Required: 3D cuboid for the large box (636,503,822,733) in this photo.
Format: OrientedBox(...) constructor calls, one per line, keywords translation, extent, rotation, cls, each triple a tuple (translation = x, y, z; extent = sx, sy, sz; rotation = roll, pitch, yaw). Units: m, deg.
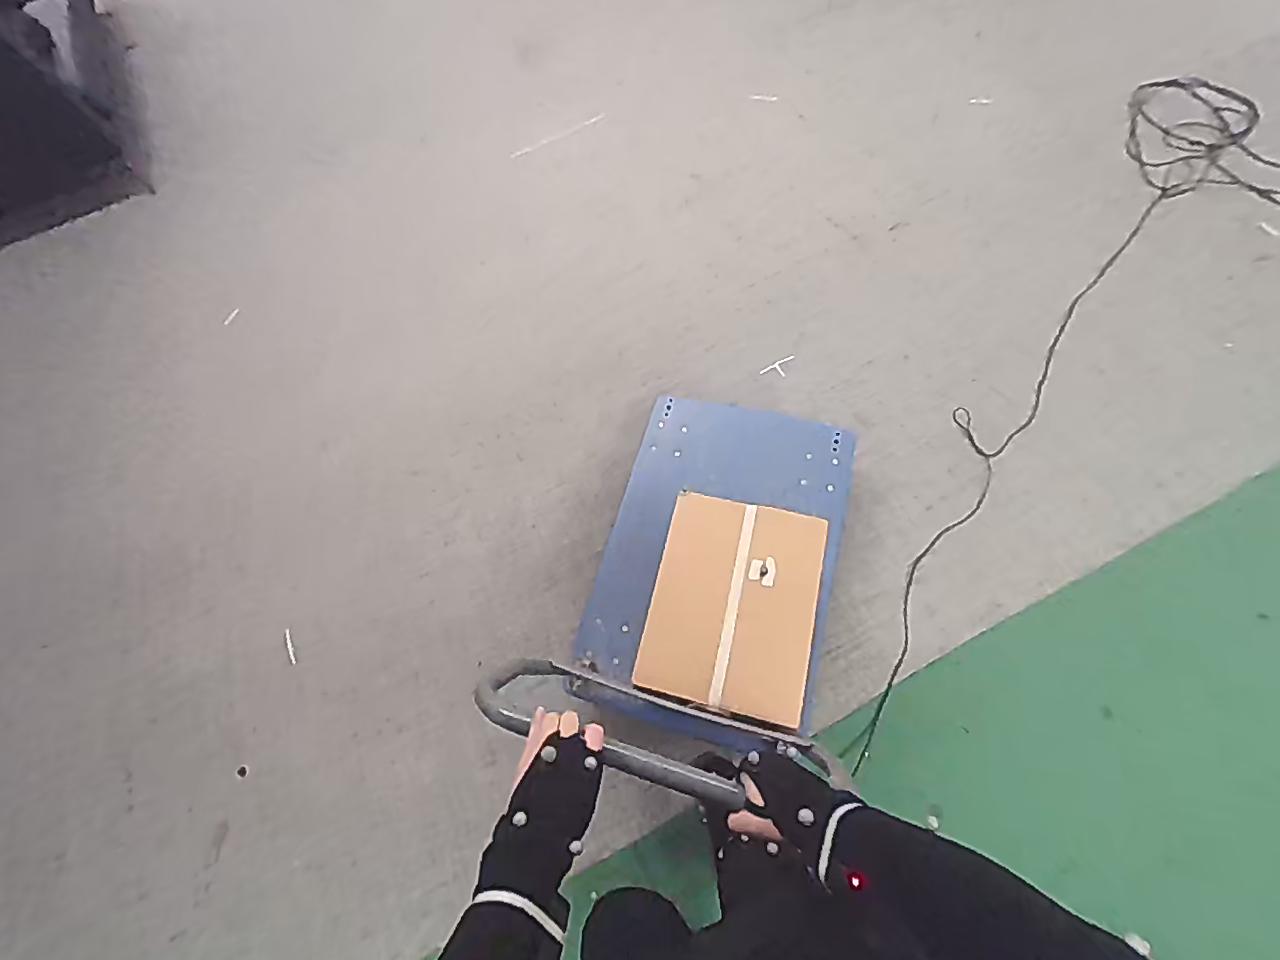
OrientedBox(translation=(0.200, 0.317, 1.208), extent=(0.320, 0.320, 0.408), rotation=(12, 67, 11), cls="large box")
